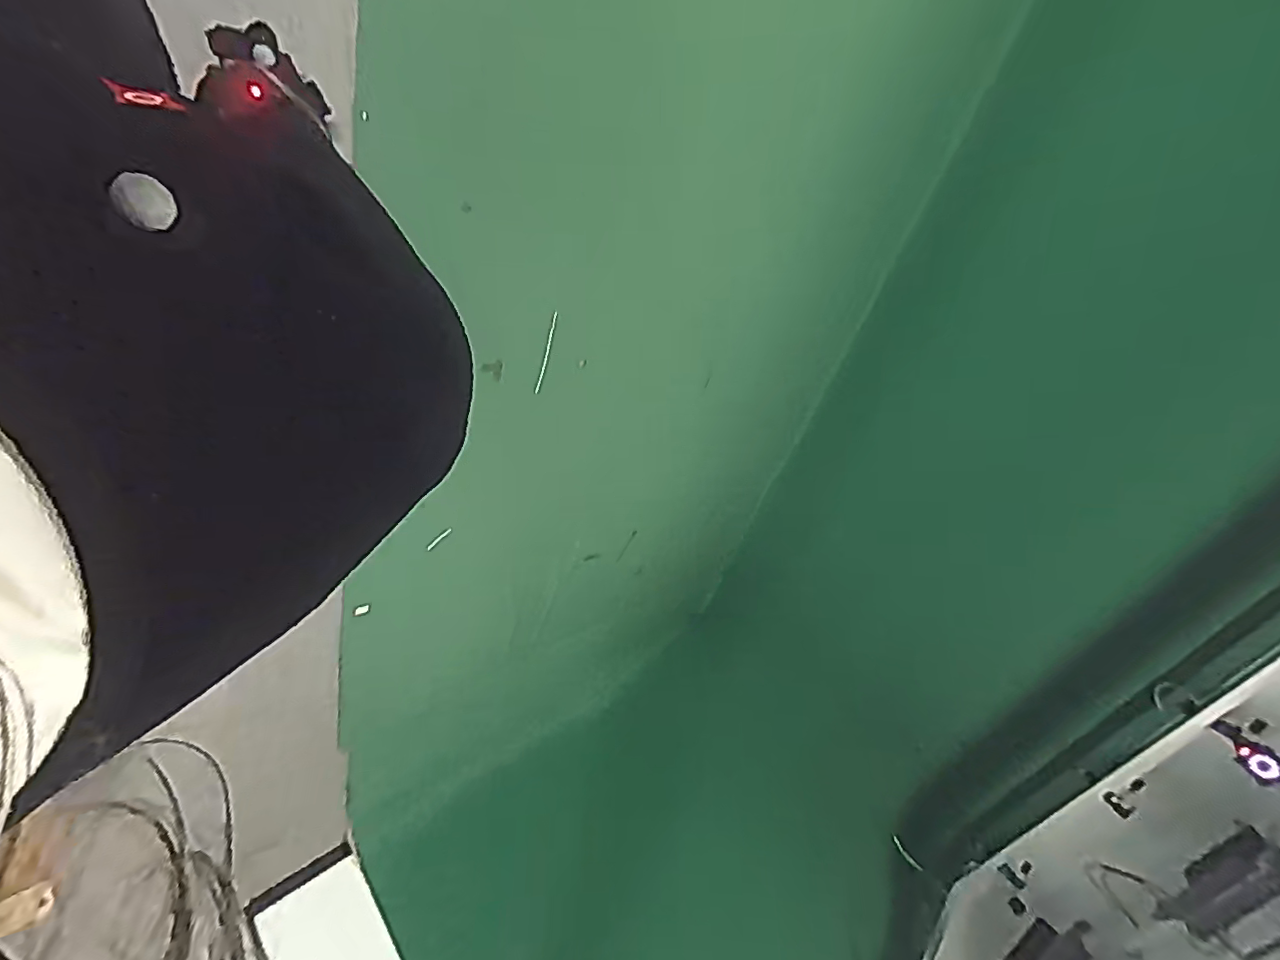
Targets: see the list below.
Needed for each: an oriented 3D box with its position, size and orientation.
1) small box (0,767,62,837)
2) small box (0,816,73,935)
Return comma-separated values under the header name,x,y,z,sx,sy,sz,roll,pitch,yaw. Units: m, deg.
name,x,y,z,sx,sy,sz,roll,pitch,yaw
small box,-1.710,0.931,1.467,0.179,0.176,0.168,-12,134,-49
small box,-1.602,1.019,1.386,0.179,0.176,0.168,-14,133,-47
